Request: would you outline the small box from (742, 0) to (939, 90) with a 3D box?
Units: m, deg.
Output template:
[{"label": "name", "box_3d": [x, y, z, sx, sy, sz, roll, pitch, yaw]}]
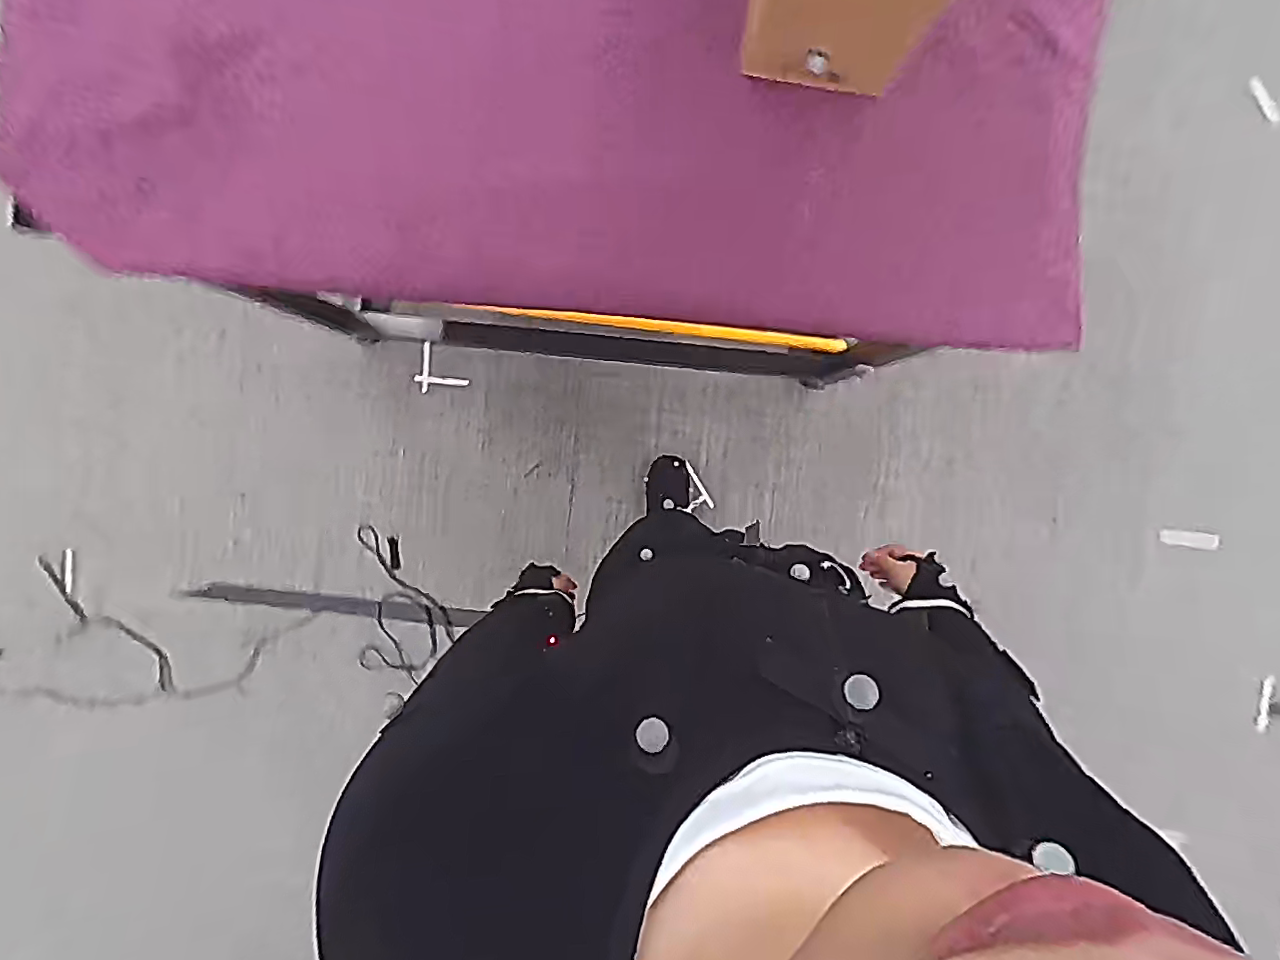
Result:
[{"label": "small box", "box_3d": [0.205, -0.535, 0.529, 0.168, 0.176, 0.179, 9, 94, -1]}]
